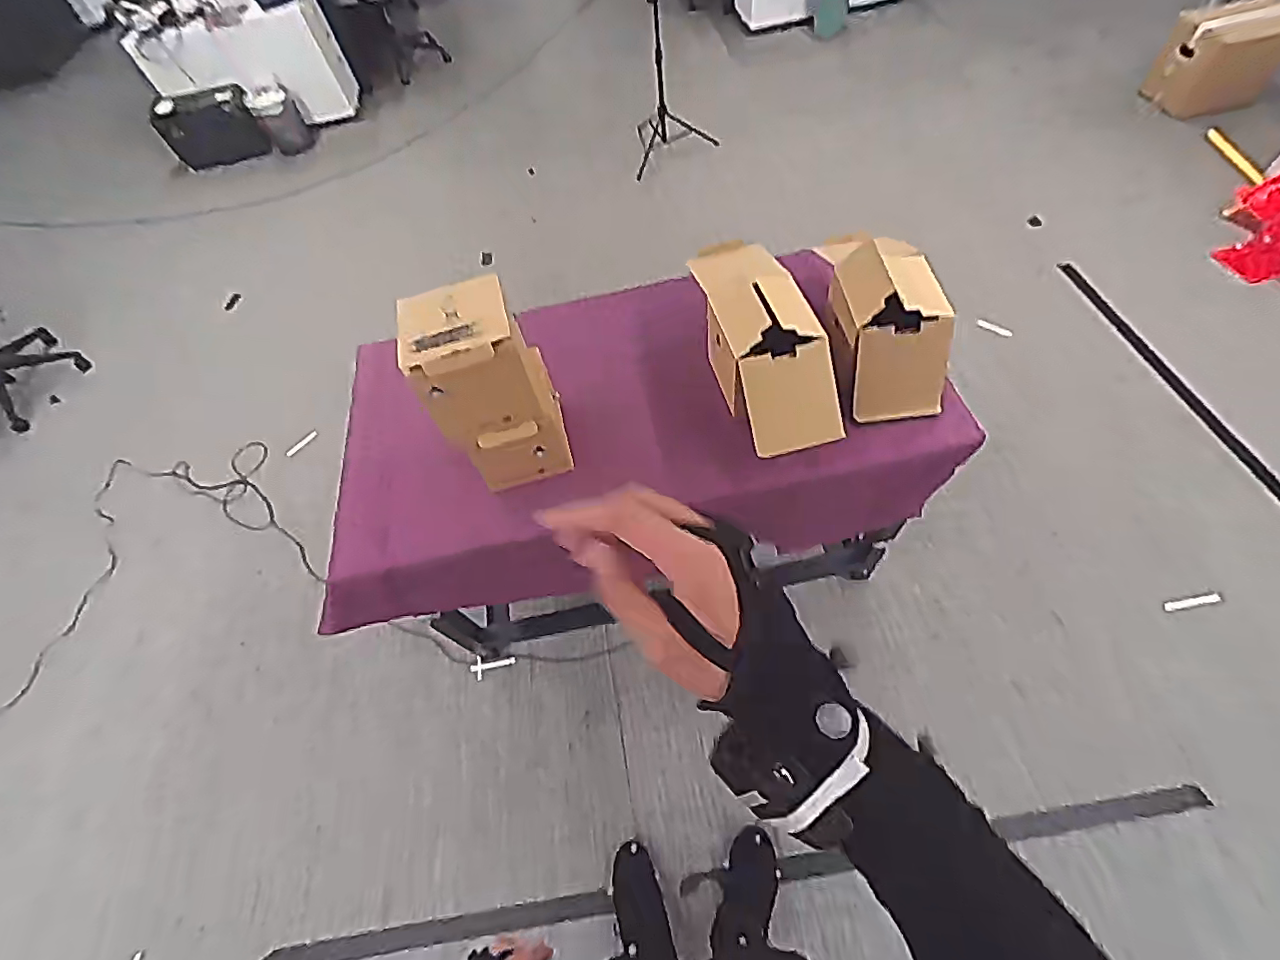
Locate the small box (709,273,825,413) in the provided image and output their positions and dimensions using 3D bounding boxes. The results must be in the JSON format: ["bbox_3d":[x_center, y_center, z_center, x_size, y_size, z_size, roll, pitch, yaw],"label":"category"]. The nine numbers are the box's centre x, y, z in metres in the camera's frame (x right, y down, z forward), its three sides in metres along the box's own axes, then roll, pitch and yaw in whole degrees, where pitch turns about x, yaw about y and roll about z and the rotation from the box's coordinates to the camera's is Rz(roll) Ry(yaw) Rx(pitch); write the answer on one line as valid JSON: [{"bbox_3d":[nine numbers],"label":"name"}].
[{"bbox_3d":[0.231,-0.258,1.037,0.168,0.176,0.179,-14,59,0],"label":"small box"}]

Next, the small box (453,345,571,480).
[{"bbox_3d":[-0.236,-0.118,1.017,0.168,0.176,0.179,-15,58,-2],"label":"small box"}]
